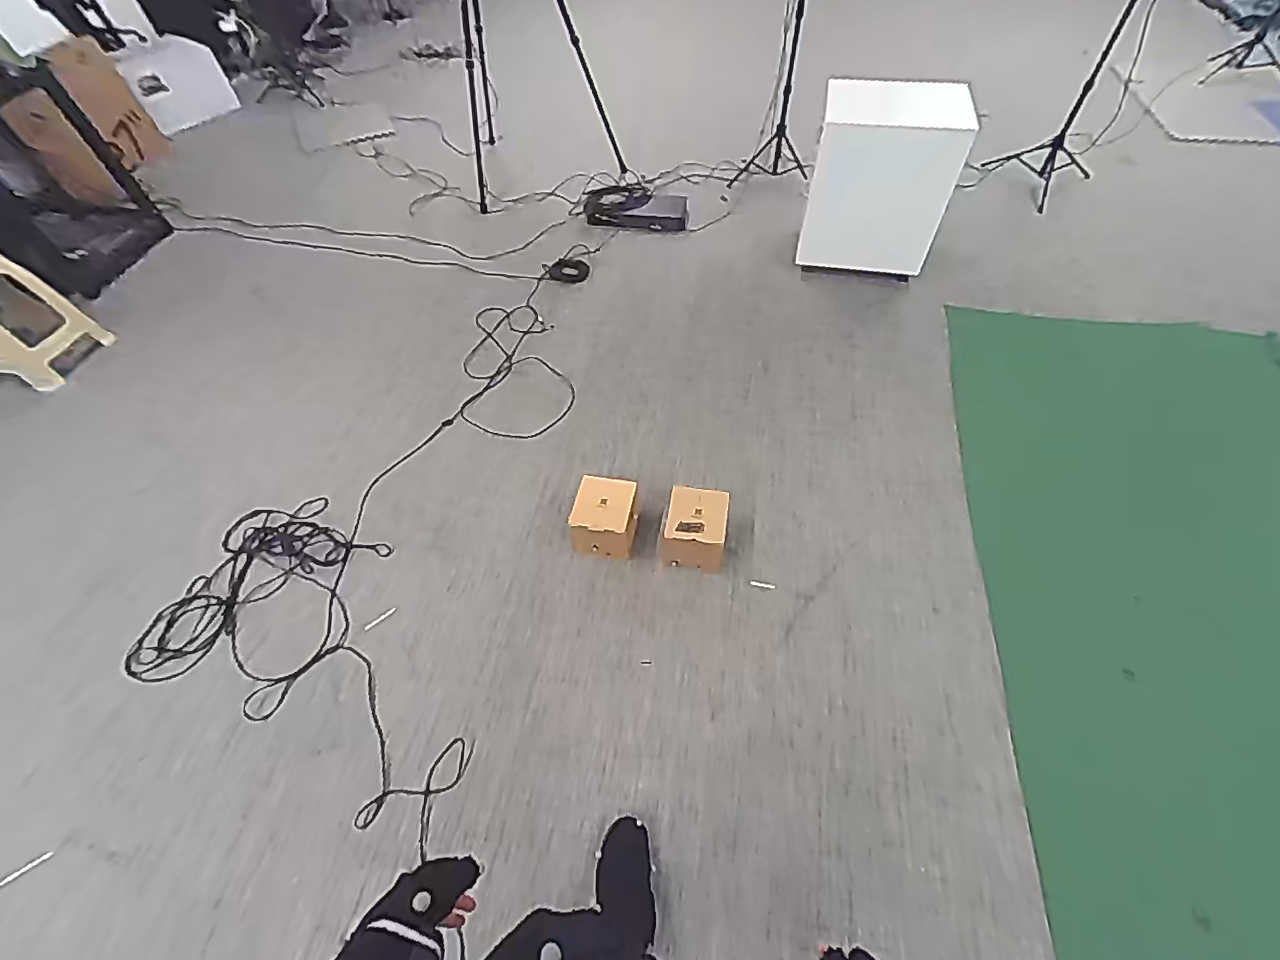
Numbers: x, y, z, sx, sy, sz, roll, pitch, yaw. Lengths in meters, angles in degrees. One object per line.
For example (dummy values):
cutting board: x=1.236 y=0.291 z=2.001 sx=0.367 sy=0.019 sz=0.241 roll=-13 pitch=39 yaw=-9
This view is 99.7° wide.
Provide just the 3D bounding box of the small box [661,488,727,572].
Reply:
small box: x=0.159 y=0.149 z=1.574 sx=0.168 sy=0.176 sz=0.179 roll=7 pitch=54 yaw=8

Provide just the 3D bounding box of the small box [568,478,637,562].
small box: x=-0.103 y=0.120 z=1.612 sx=0.168 sy=0.176 sz=0.179 roll=7 pitch=55 yaw=9
